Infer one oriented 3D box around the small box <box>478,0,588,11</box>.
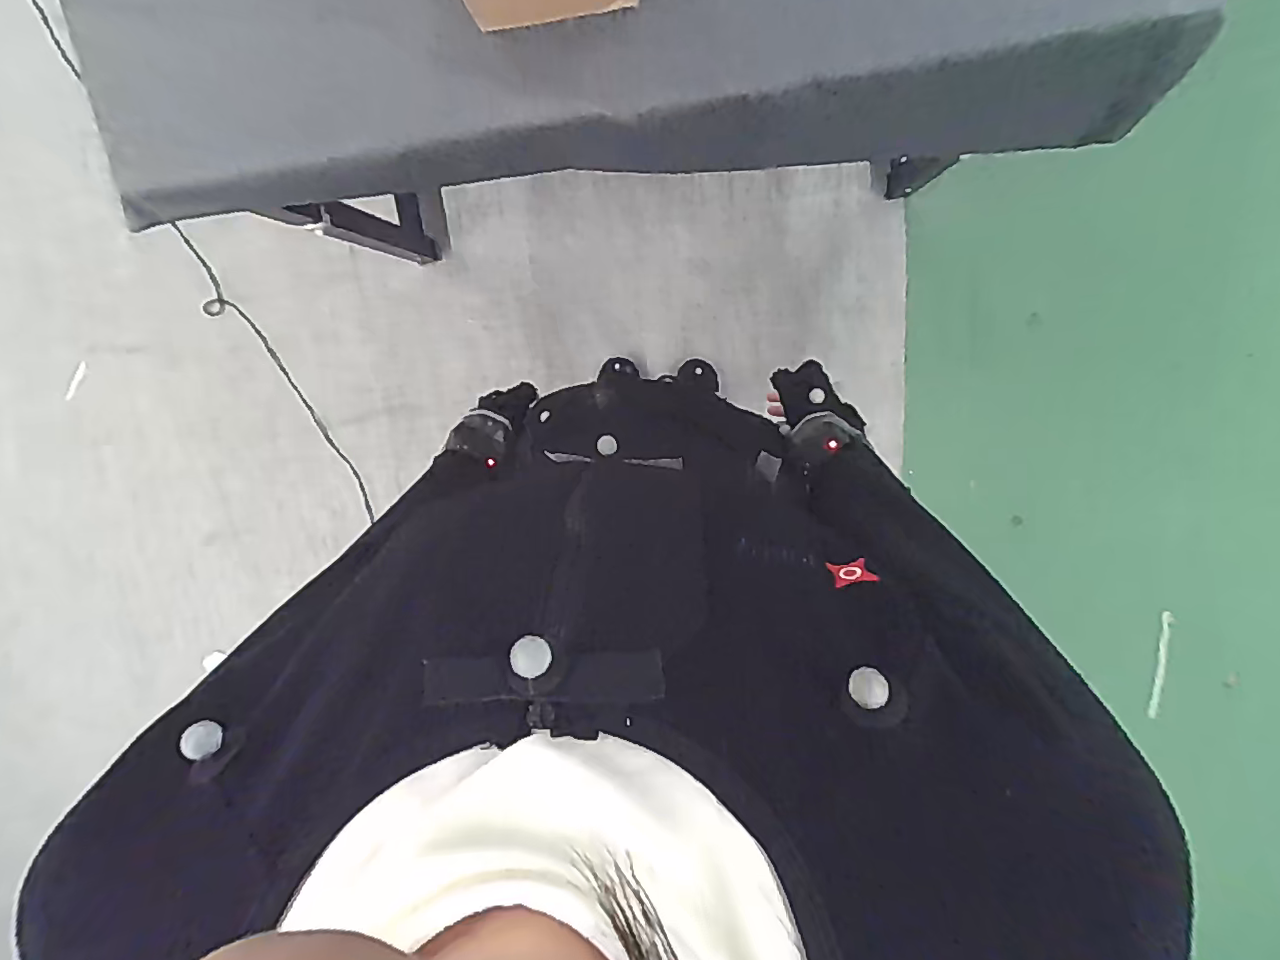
[{"bbox_3d":[-0.098,-0.560,0.475,0.179,0.176,0.168,-4,105,5],"label":"small box"}]
